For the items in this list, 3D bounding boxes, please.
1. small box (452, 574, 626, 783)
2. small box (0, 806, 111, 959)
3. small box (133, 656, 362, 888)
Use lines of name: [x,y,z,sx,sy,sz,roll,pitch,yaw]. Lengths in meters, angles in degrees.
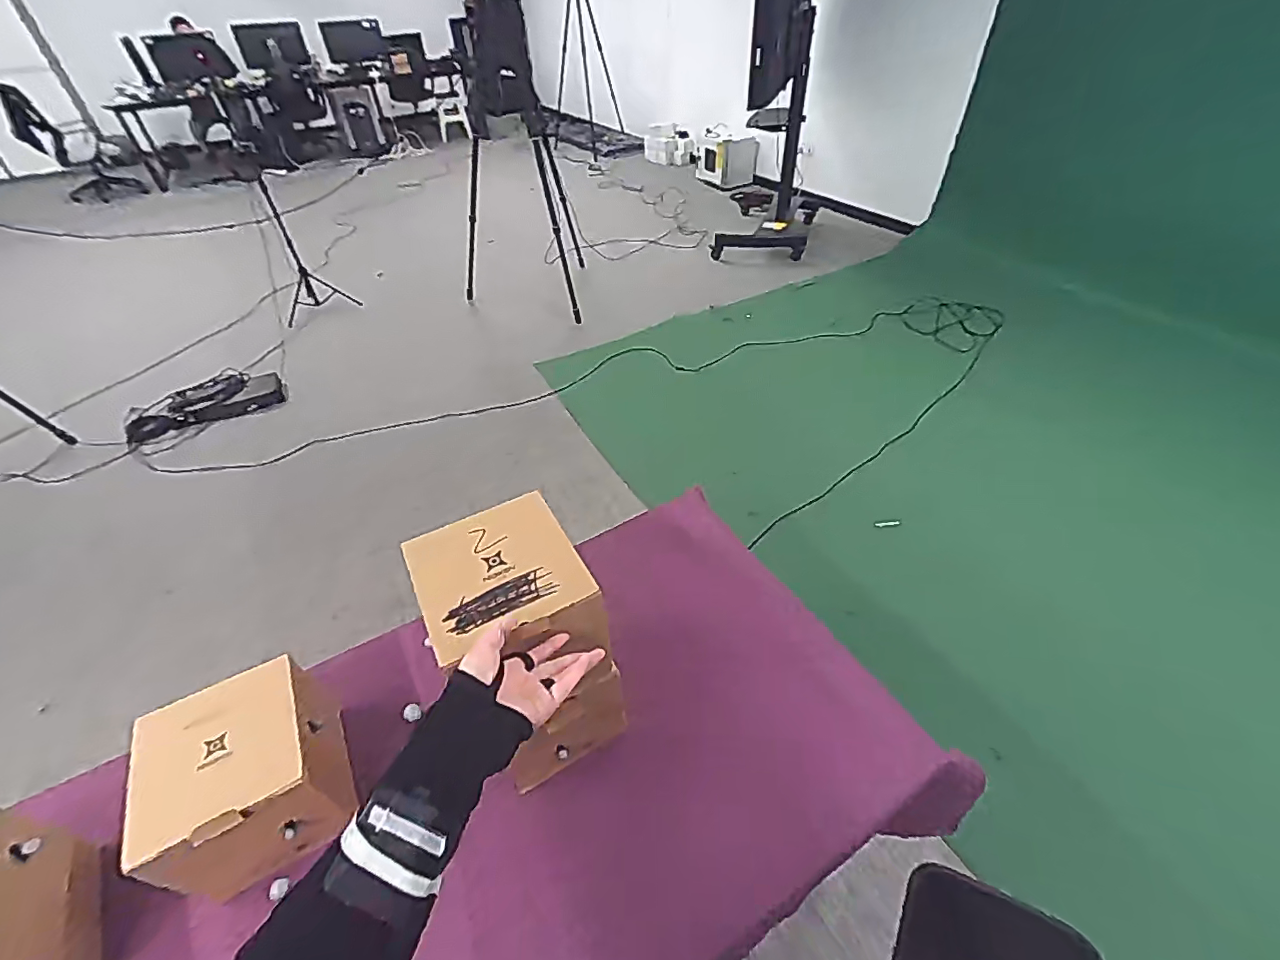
small box: [-0.133,0.269,0.739,0.168,0.176,0.179,-25,48,-21]
small box: [-0.690,0.484,0.547,0.168,0.176,0.179,-28,49,-24]
small box: [-0.465,0.361,0.664,0.168,0.176,0.179,-23,47,-21]
